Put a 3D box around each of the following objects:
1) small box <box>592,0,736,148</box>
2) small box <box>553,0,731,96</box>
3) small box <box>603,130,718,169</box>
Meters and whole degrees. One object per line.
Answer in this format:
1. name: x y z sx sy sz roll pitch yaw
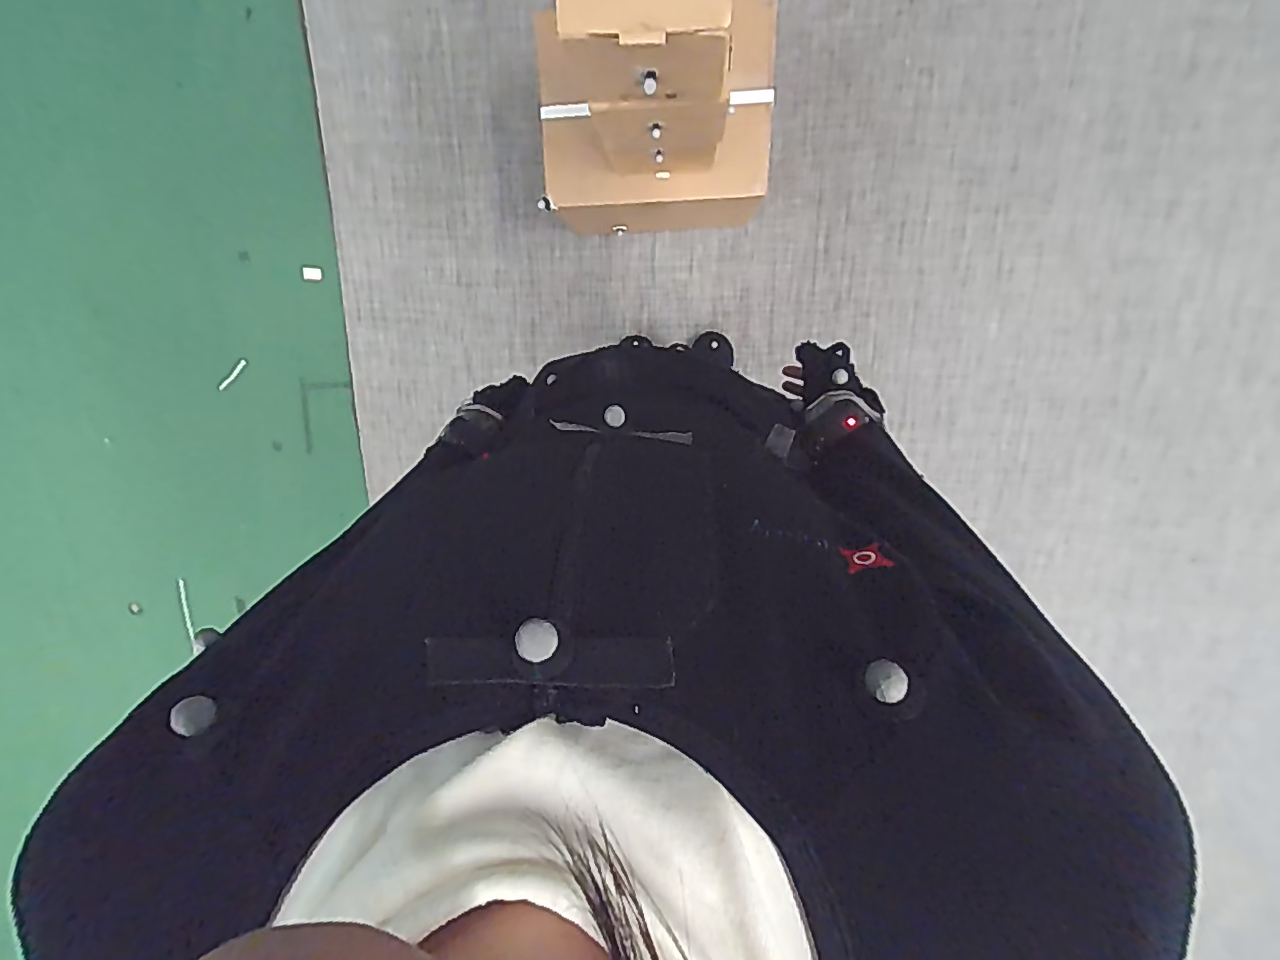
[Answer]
1. small box: 0.030 -0.559 0.713 0.179 0.176 0.168 -2 107 6
2. small box: 0.012 -0.521 0.555 0.168 0.176 0.179 4 108 6
3. small box: 0.039 -0.612 0.868 0.179 0.176 0.168 1 108 4
